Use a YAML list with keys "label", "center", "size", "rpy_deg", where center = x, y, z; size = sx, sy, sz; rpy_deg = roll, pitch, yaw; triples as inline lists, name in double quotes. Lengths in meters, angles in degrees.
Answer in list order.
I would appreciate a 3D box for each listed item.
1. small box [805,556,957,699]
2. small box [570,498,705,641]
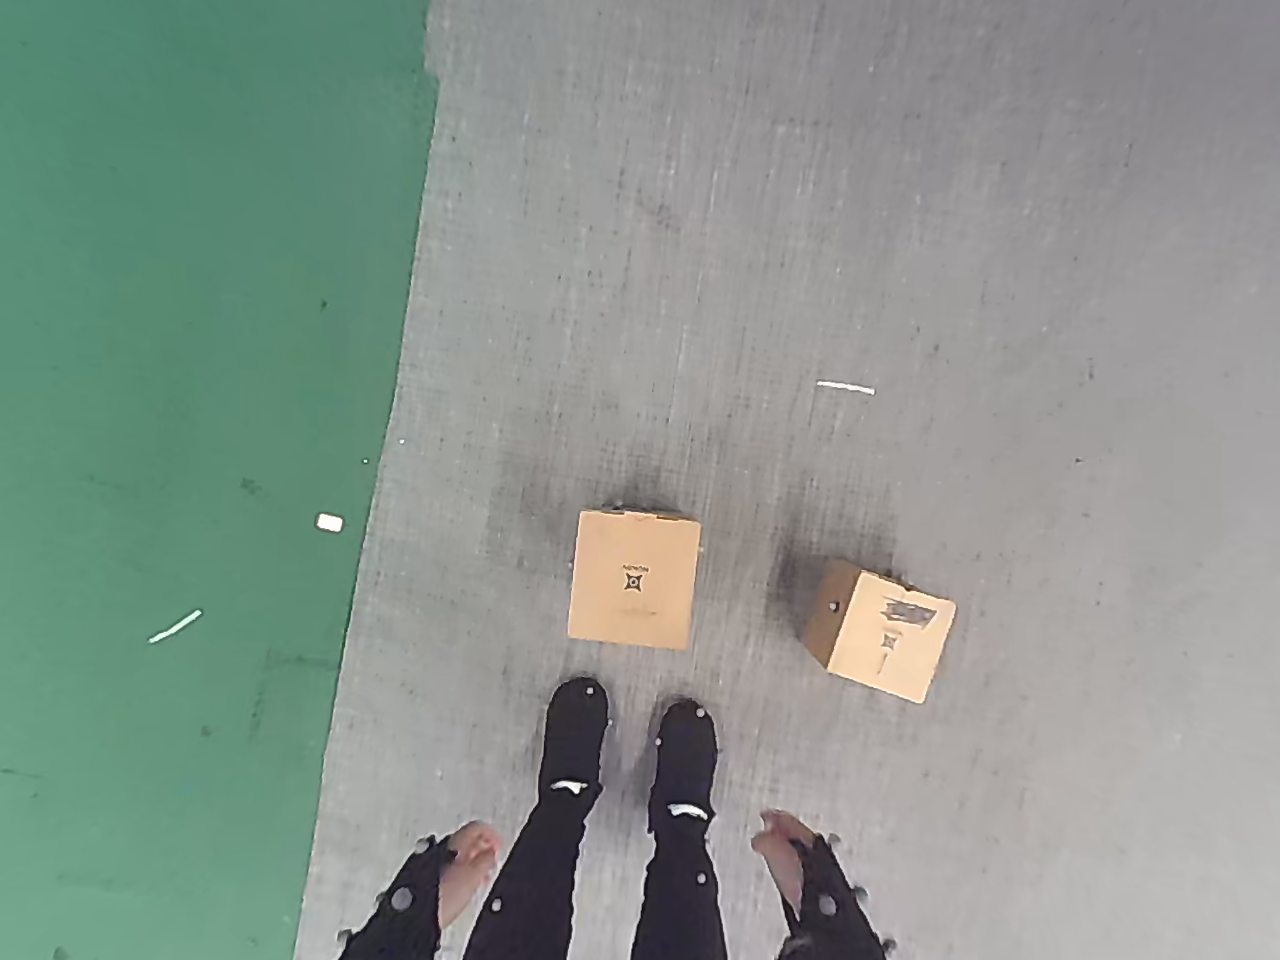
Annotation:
- label: "small box"
  center: [0.408, 0.245, 0.948]
  size: [0.168, 0.176, 0.179]
  rpy_deg: [19, 91, 2]
- label: "small box"
  center: [-0.002, 0.120, 0.799]
  size: [0.168, 0.176, 0.179]
  rpy_deg: [6, 90, 3]
